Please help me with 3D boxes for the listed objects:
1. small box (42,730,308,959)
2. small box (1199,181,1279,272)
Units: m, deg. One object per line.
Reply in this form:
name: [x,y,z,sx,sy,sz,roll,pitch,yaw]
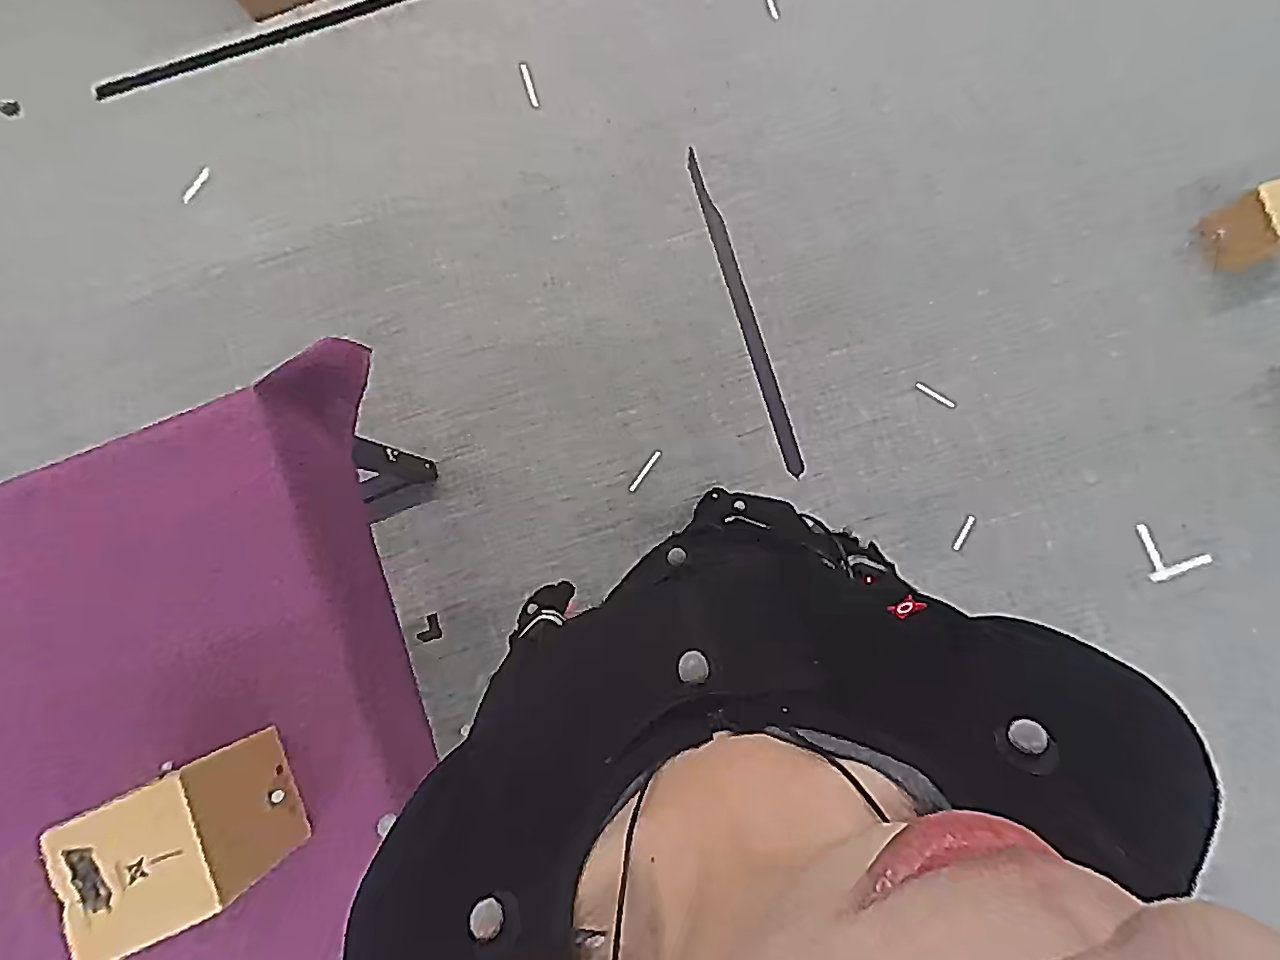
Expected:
small box: [-0.581,0.458,0.698,0.179,0.176,0.168,-24,84,-1]
small box: [1.726,-0.705,1.489,0.179,0.176,0.168,-15,82,1]
